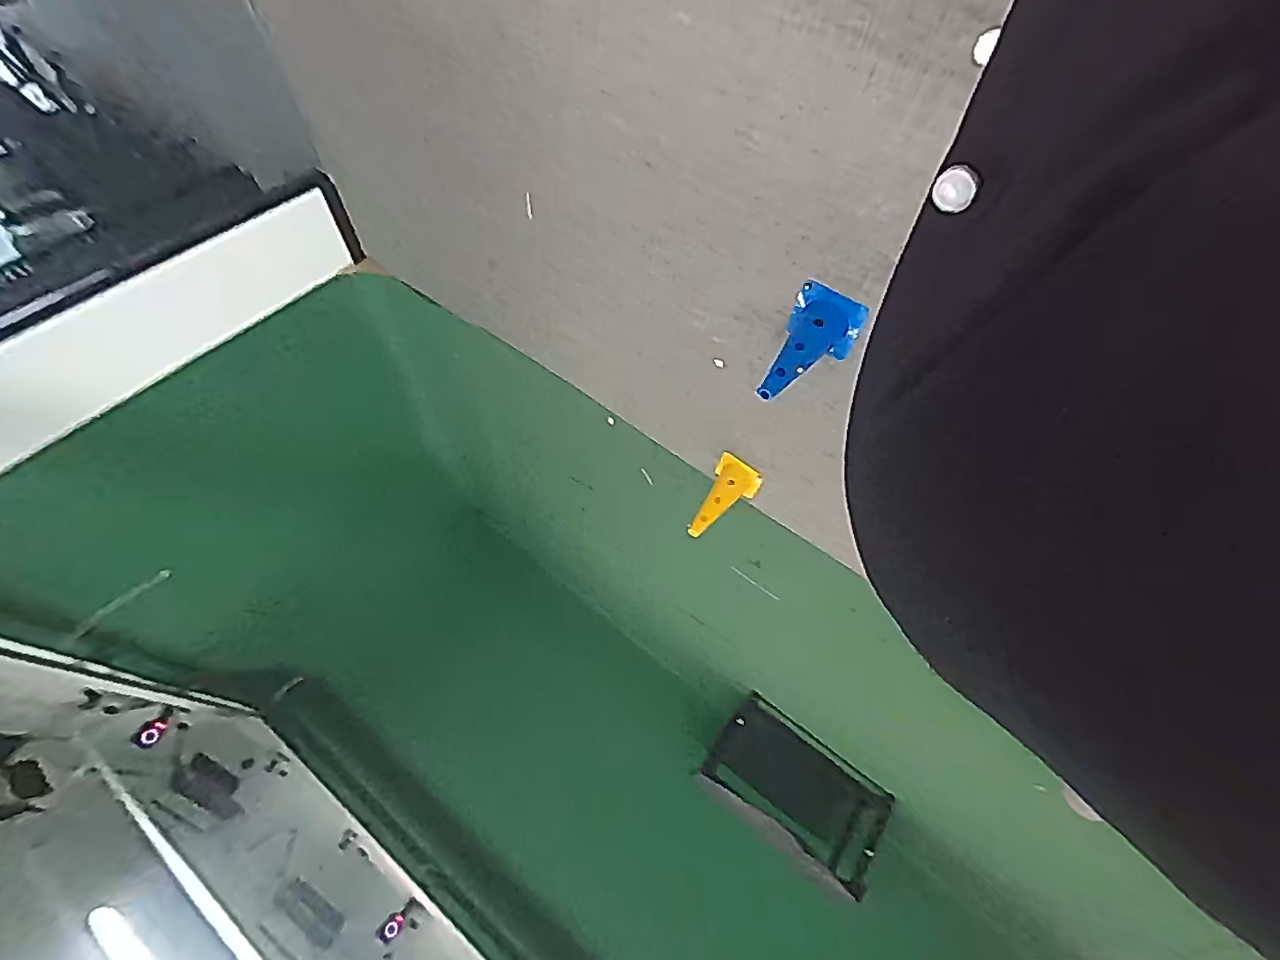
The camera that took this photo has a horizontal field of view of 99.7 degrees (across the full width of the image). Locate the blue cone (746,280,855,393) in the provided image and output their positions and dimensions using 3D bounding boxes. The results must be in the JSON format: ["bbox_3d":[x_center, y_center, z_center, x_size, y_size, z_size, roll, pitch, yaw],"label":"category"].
[{"bbox_3d":[0.411,-0.356,1.477,0.192,0.380,0.193,36,152,14],"label":"blue cone"}]
